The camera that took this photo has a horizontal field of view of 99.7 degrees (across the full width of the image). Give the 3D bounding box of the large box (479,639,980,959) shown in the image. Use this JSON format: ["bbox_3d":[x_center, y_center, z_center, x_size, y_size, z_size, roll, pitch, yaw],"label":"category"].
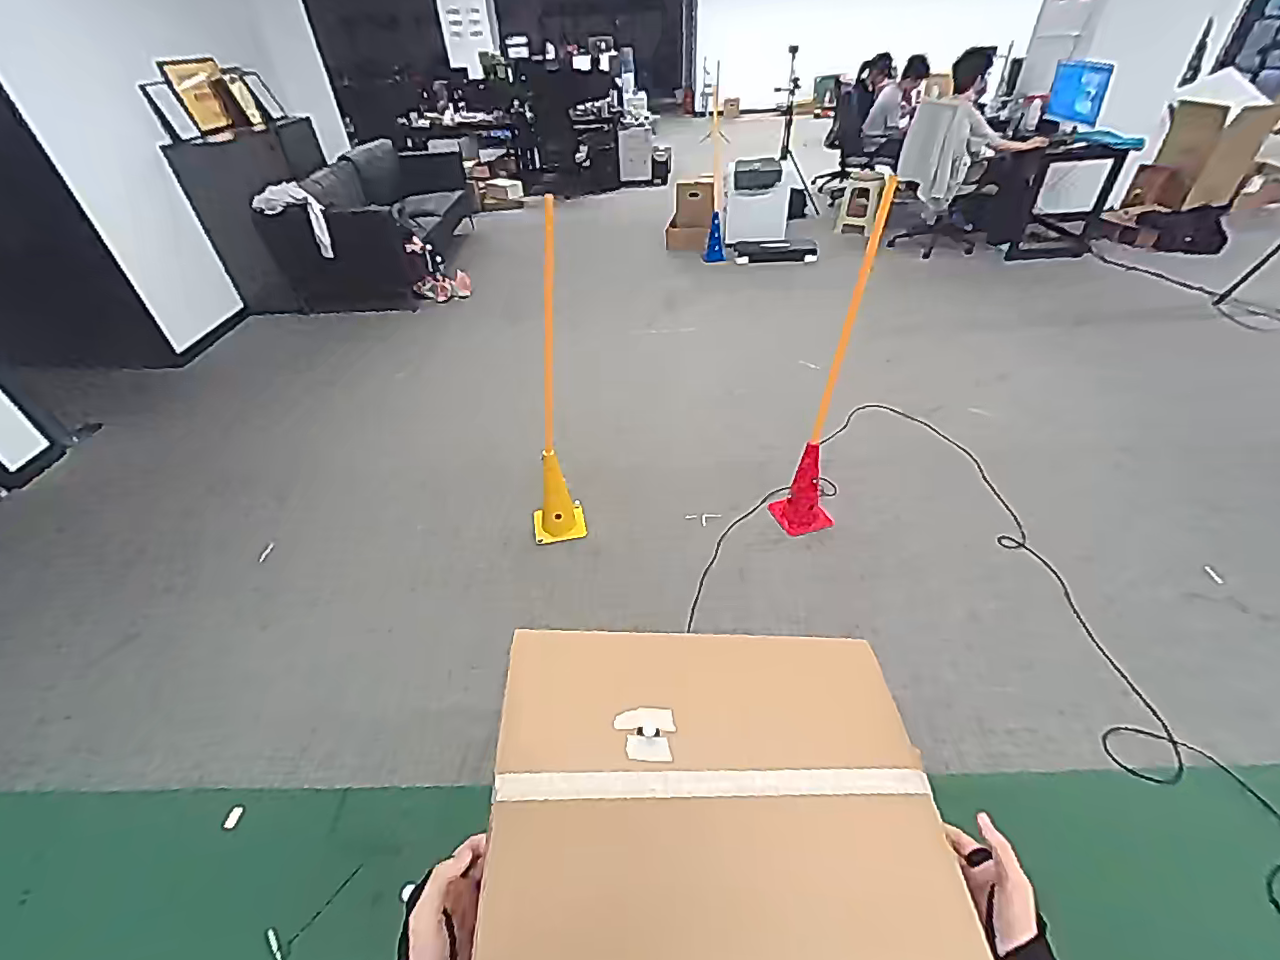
[{"bbox_3d":[0.056,0.393,0.607,0.408,0.320,0.320,3,44,-6],"label":"large box"}]
